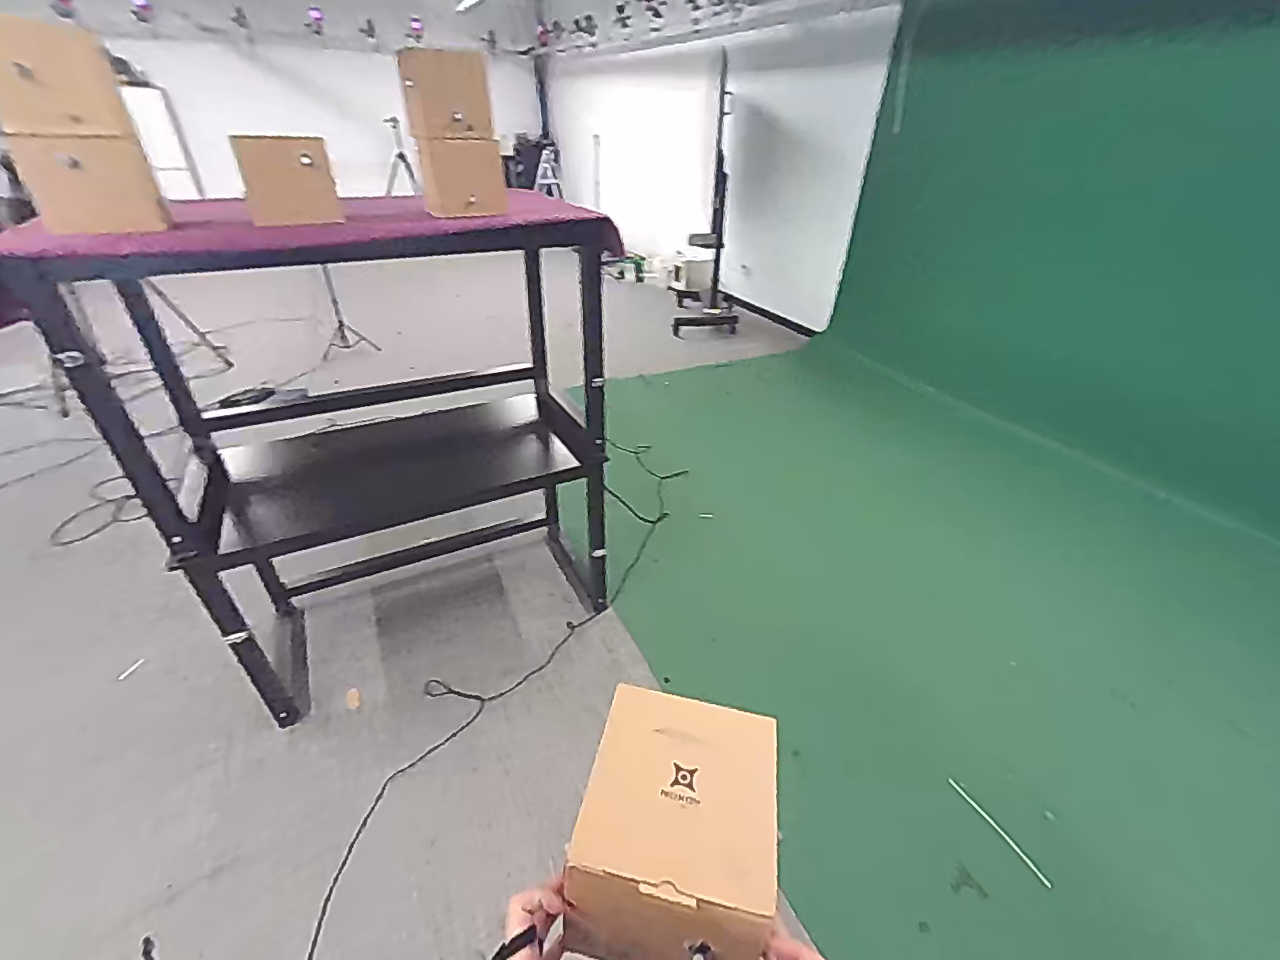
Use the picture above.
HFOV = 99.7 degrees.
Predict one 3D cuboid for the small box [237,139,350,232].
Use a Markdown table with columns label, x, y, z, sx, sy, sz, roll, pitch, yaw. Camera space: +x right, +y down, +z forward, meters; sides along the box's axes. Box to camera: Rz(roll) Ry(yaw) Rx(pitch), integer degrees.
| label | x | y | z | sx | sy | sz | roll | pitch | yaw |
| --- | --- | --- | --- | --- | --- | --- | --- | --- | --- |
| small box | -0.772 | -0.668 | 1.224 | 0.179 | 0.176 | 0.168 | -15 | 36 | -23 |

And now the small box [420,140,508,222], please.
| label | x | y | z | sx | sy | sz | roll | pitch | yaw |
| --- | --- | --- | --- | --- | --- | --- | --- | --- | --- |
| small box | -0.440 | -0.758 | 1.370 | 0.179 | 0.176 | 0.168 | -15 | 35 | -24 |

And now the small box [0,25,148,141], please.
| label | x | y | z | sx | sy | sz | roll | pitch | yaw |
| --- | --- | --- | --- | --- | --- | --- | --- | --- | --- |
| small box | -1.058 | -0.721 | 1.000 | 0.168 | 0.176 | 0.179 | -17 | 37 | -26 |

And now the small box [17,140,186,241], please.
| label | x | y | z | sx | sy | sz | roll | pitch | yaw |
| --- | --- | --- | --- | --- | --- | --- | --- | --- | --- |
| small box | -1.059 | -0.582 | 1.083 | 0.179 | 0.176 | 0.168 | -16 | 38 | -26 |

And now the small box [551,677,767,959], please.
| label | x | y | z | sx | sy | sz | roll | pitch | yaw |
| --- | --- | --- | --- | --- | --- | --- | --- | --- | --- |
| small box | 0.024 | 0.331 | 0.524 | 0.168 | 0.176 | 0.179 | 10 | 31 | 9 |
